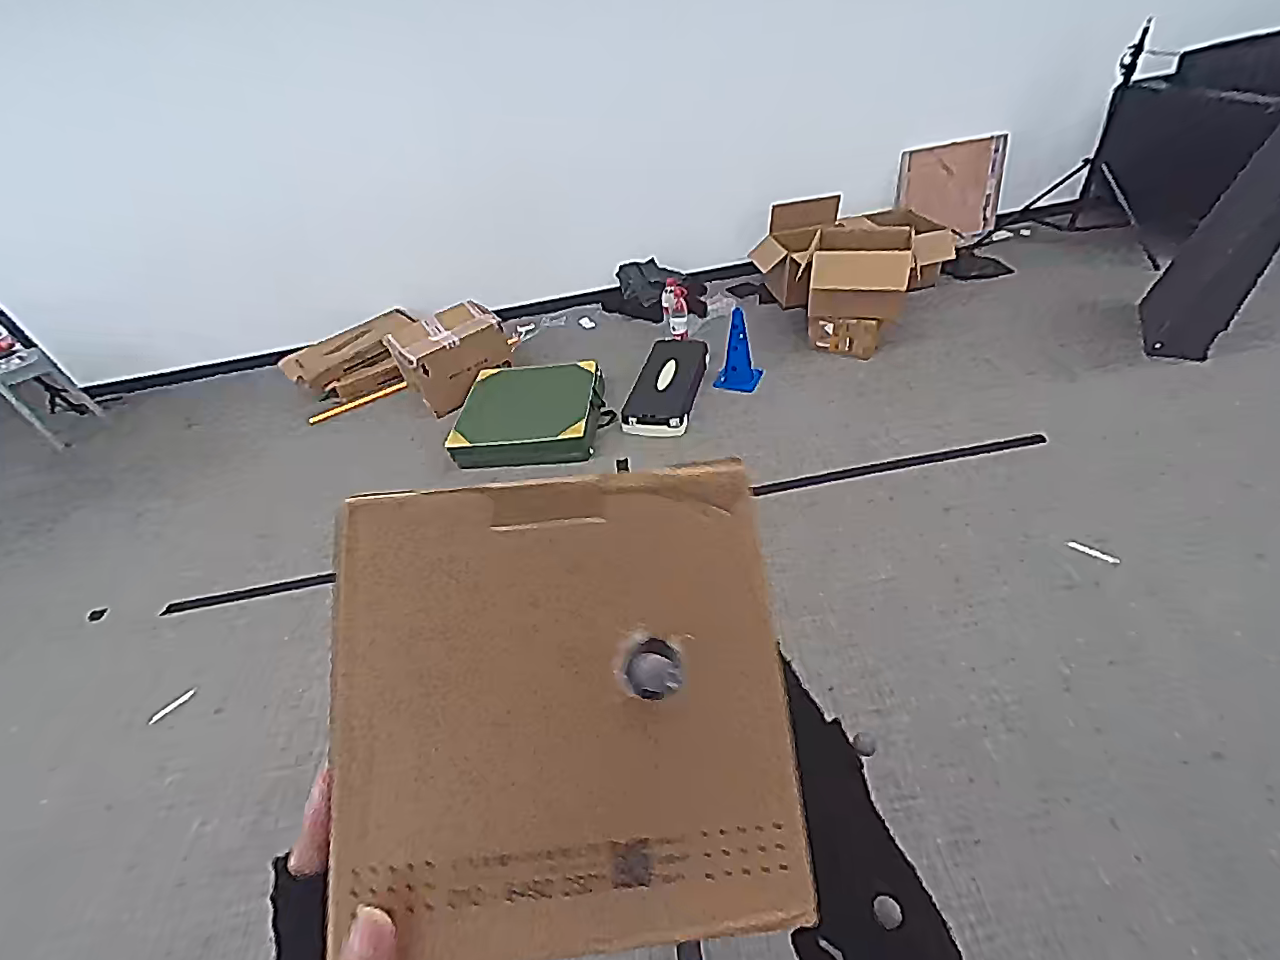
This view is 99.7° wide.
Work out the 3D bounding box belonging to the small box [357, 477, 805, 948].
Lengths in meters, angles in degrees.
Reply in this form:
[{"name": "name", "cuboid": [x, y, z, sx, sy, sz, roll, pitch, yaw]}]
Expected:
[{"name": "small box", "cuboid": [-0.026, 0.104, 0.284, 0.168, 0.179, 0.176, -4, 77, -3]}]
